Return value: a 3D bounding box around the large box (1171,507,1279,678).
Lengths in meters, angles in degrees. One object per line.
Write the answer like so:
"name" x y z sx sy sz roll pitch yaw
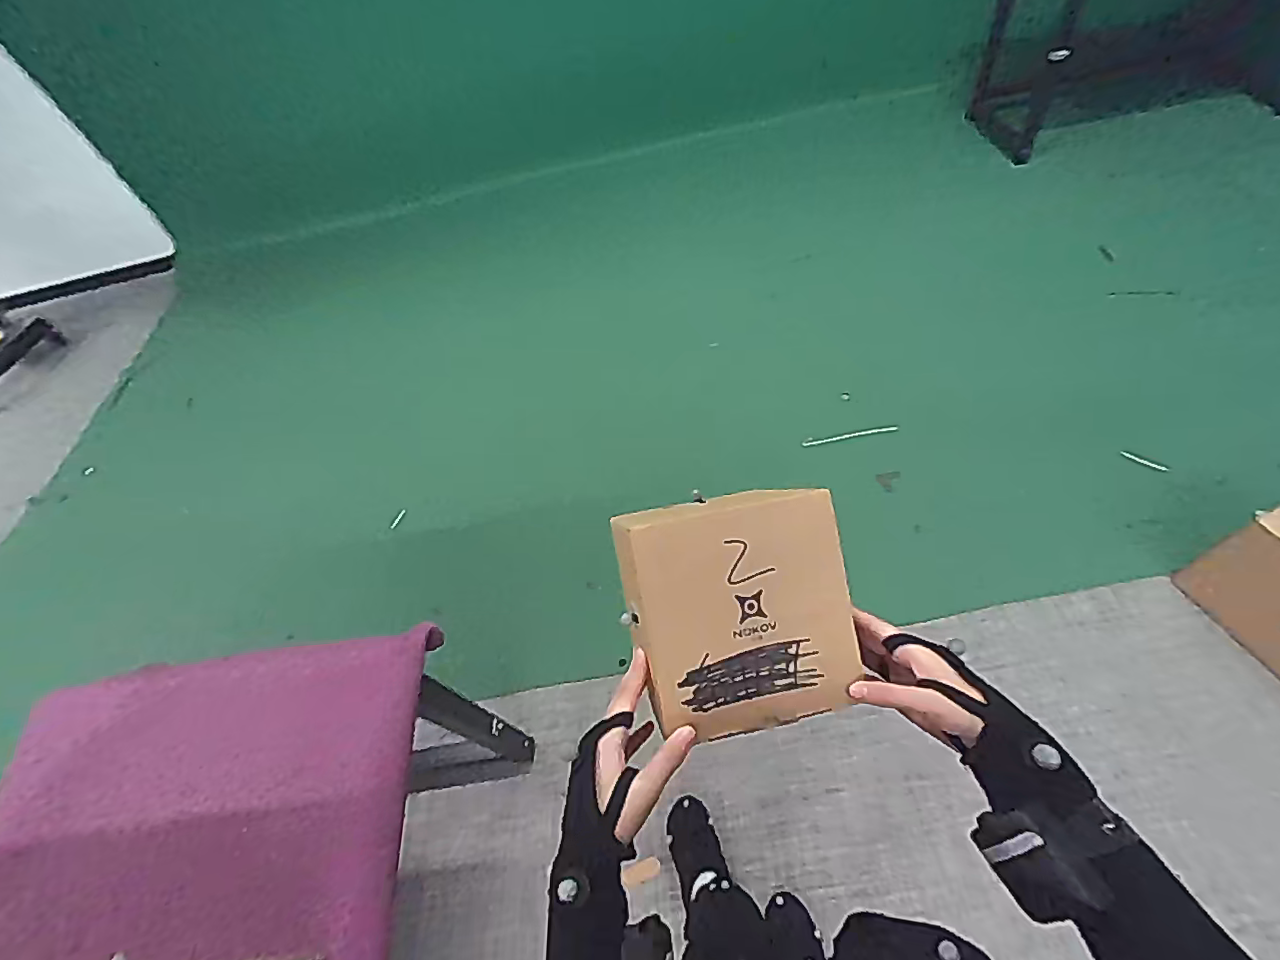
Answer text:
"large box" 1.542 0.263 1.166 0.320 0.320 0.408 -22 51 -6
